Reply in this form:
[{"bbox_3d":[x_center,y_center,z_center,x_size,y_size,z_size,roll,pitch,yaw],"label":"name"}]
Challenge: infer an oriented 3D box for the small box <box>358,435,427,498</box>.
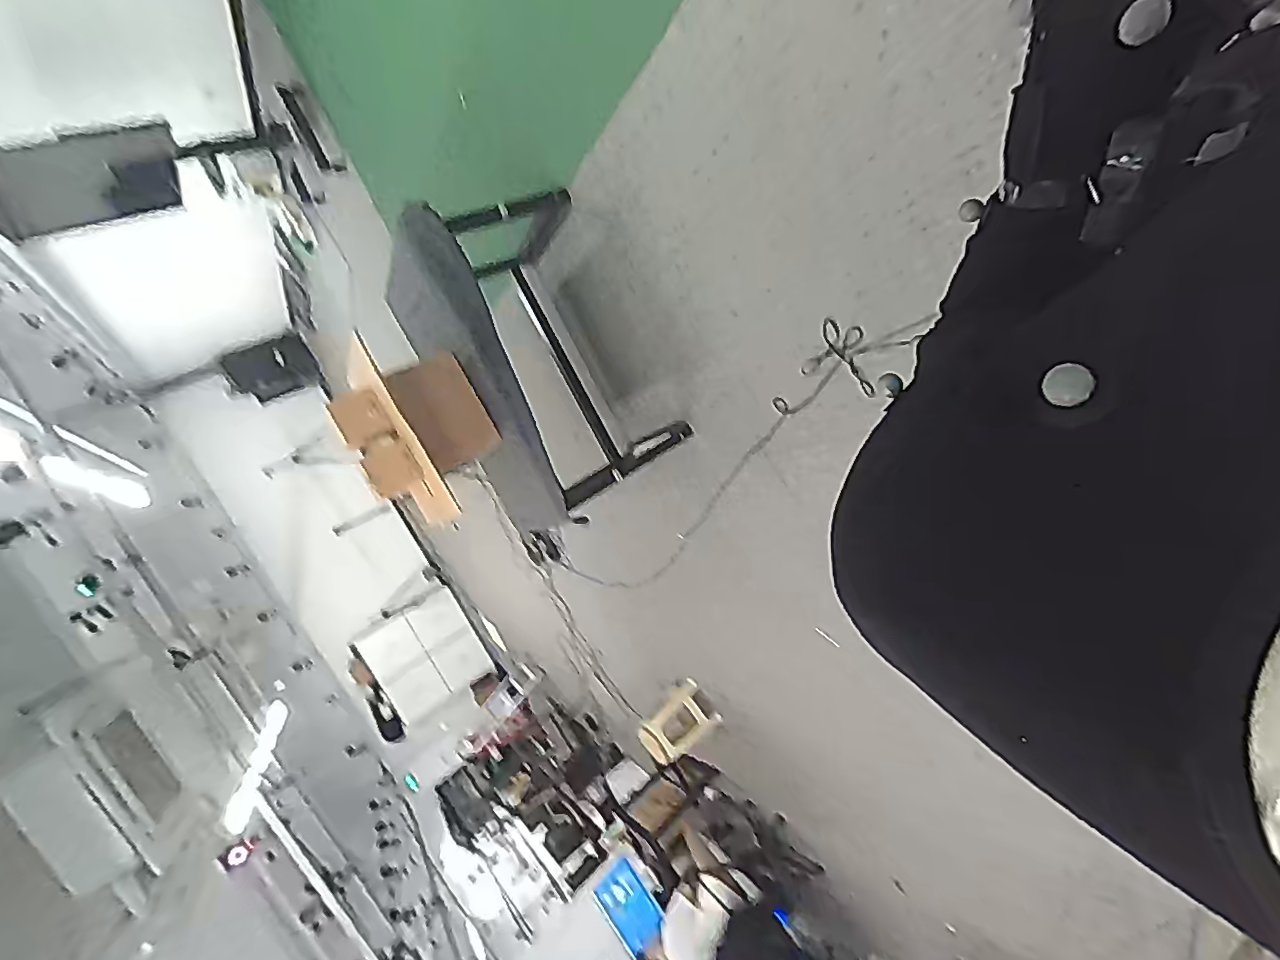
[{"bbox_3d":[-0.915,-0.052,2.003,0.179,0.176,0.168,-15,105,60],"label":"small box"}]
